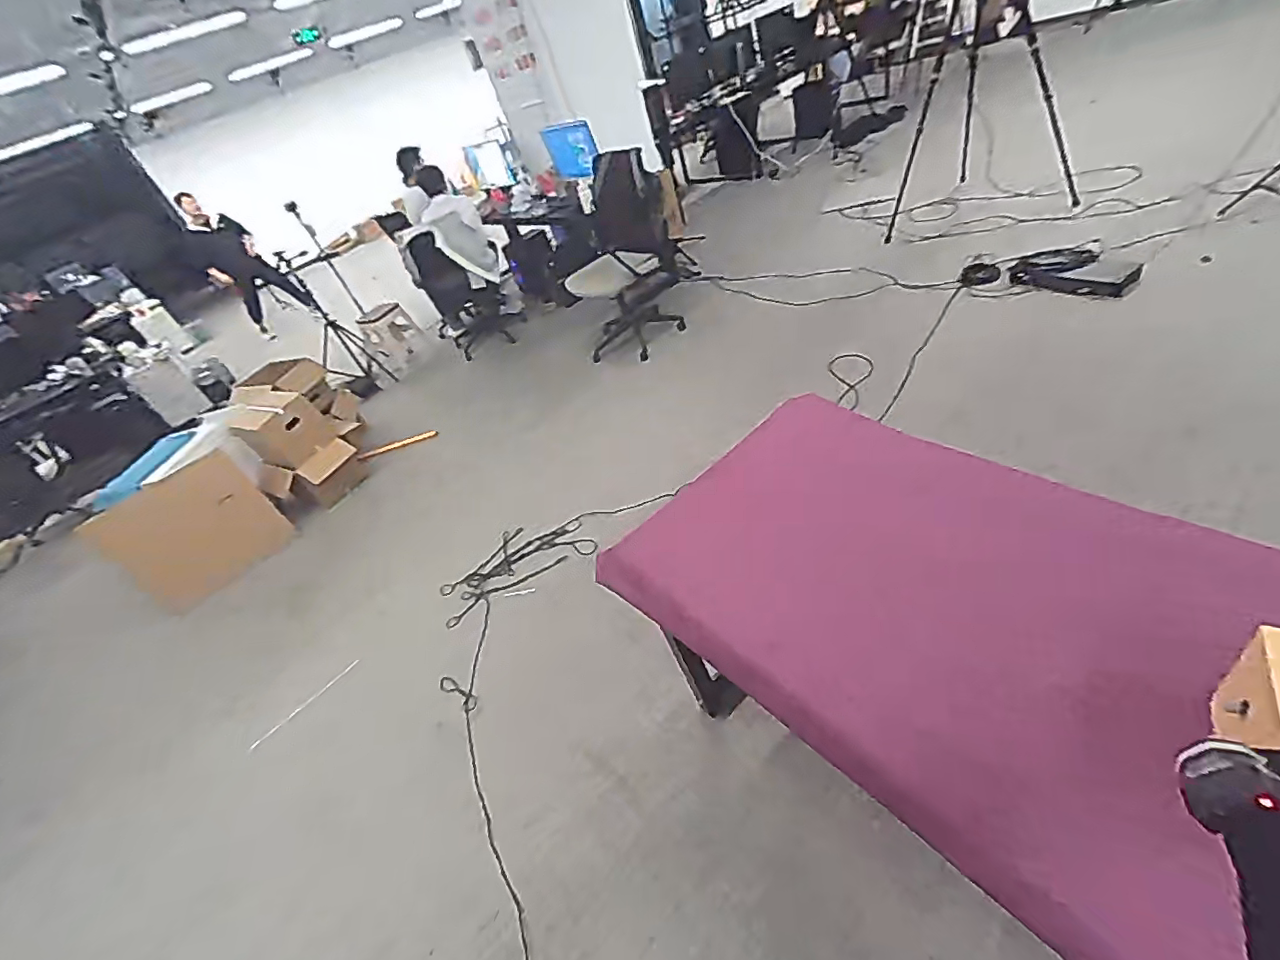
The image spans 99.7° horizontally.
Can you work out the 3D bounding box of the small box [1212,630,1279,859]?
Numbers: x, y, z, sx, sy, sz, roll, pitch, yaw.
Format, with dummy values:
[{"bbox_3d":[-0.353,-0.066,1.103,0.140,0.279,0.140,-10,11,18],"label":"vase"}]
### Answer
[{"bbox_3d":[0.702,0.280,0.523,0.179,0.176,0.168,10,47,33],"label":"small box"}]
